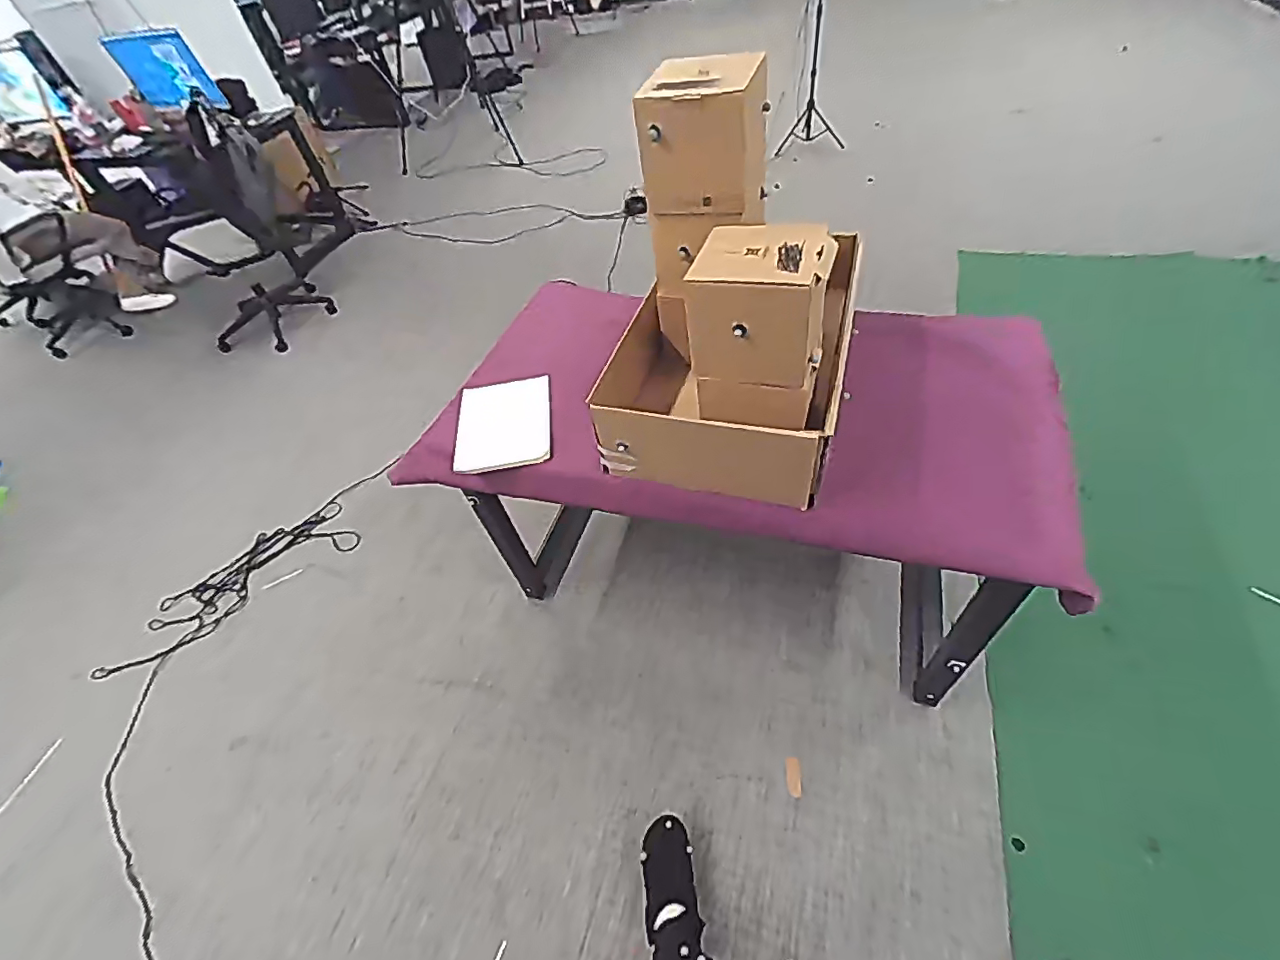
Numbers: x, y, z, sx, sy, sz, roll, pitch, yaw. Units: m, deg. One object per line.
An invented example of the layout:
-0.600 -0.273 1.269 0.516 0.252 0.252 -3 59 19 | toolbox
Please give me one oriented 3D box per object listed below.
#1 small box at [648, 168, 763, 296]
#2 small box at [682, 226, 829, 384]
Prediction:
0.130 -0.450 1.001 0.168 0.176 0.179 11 54 19 | small box
0.179 -0.263 0.821 0.179 0.176 0.168 10 51 21 | small box
